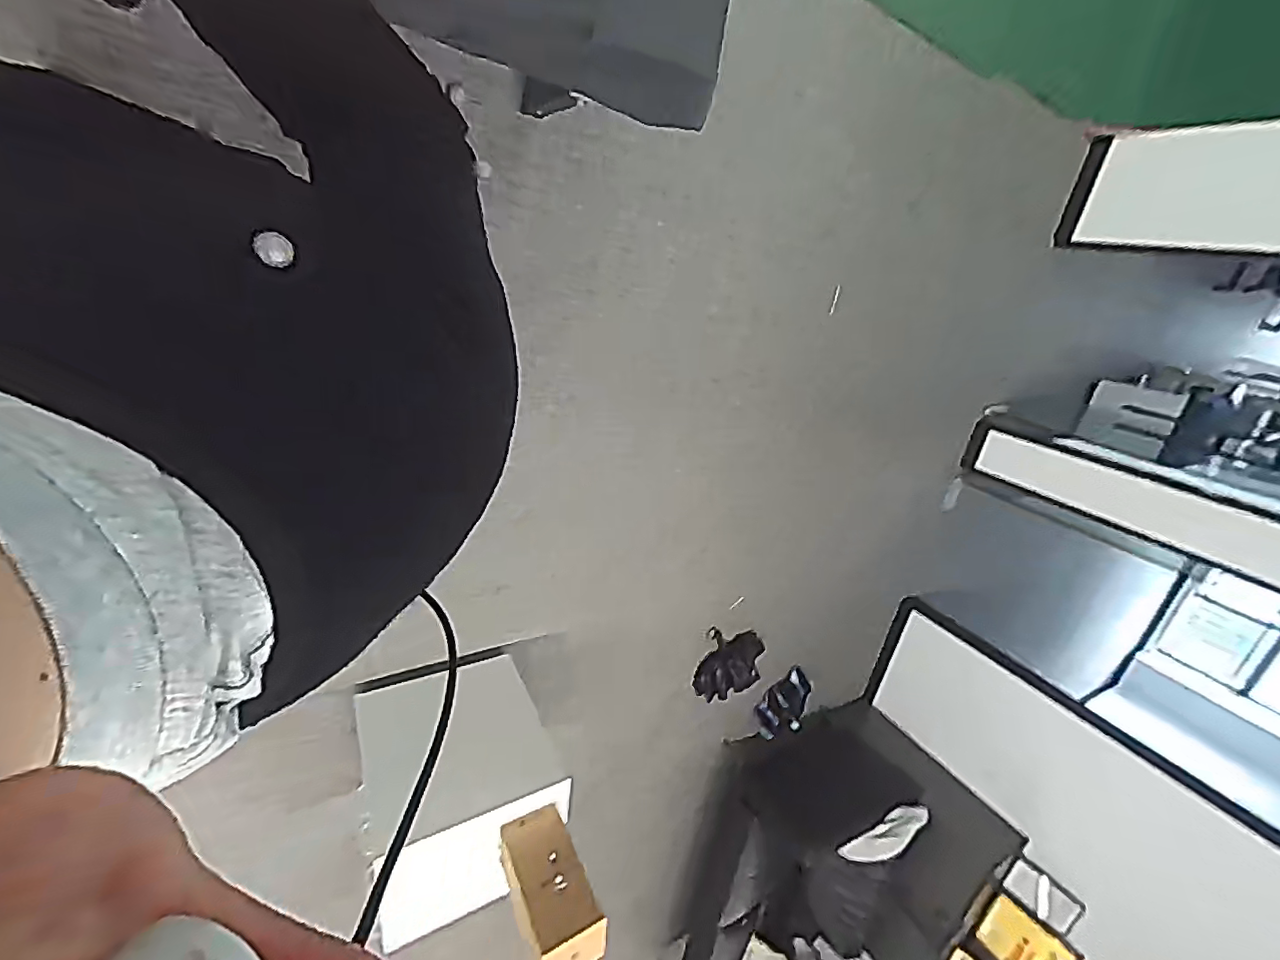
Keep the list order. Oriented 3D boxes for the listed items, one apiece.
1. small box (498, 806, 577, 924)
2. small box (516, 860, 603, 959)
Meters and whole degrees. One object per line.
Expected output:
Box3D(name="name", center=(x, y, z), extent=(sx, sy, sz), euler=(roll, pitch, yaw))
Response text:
Box3D(name="small box", center=(-0.284, 1.039, 1.472), extent=(0.168, 0.176, 0.179), euler=(-9, 119, -29))
Box3D(name="small box", center=(-0.203, 1.103, 1.347), extent=(0.168, 0.176, 0.179), euler=(-12, 120, -28))
